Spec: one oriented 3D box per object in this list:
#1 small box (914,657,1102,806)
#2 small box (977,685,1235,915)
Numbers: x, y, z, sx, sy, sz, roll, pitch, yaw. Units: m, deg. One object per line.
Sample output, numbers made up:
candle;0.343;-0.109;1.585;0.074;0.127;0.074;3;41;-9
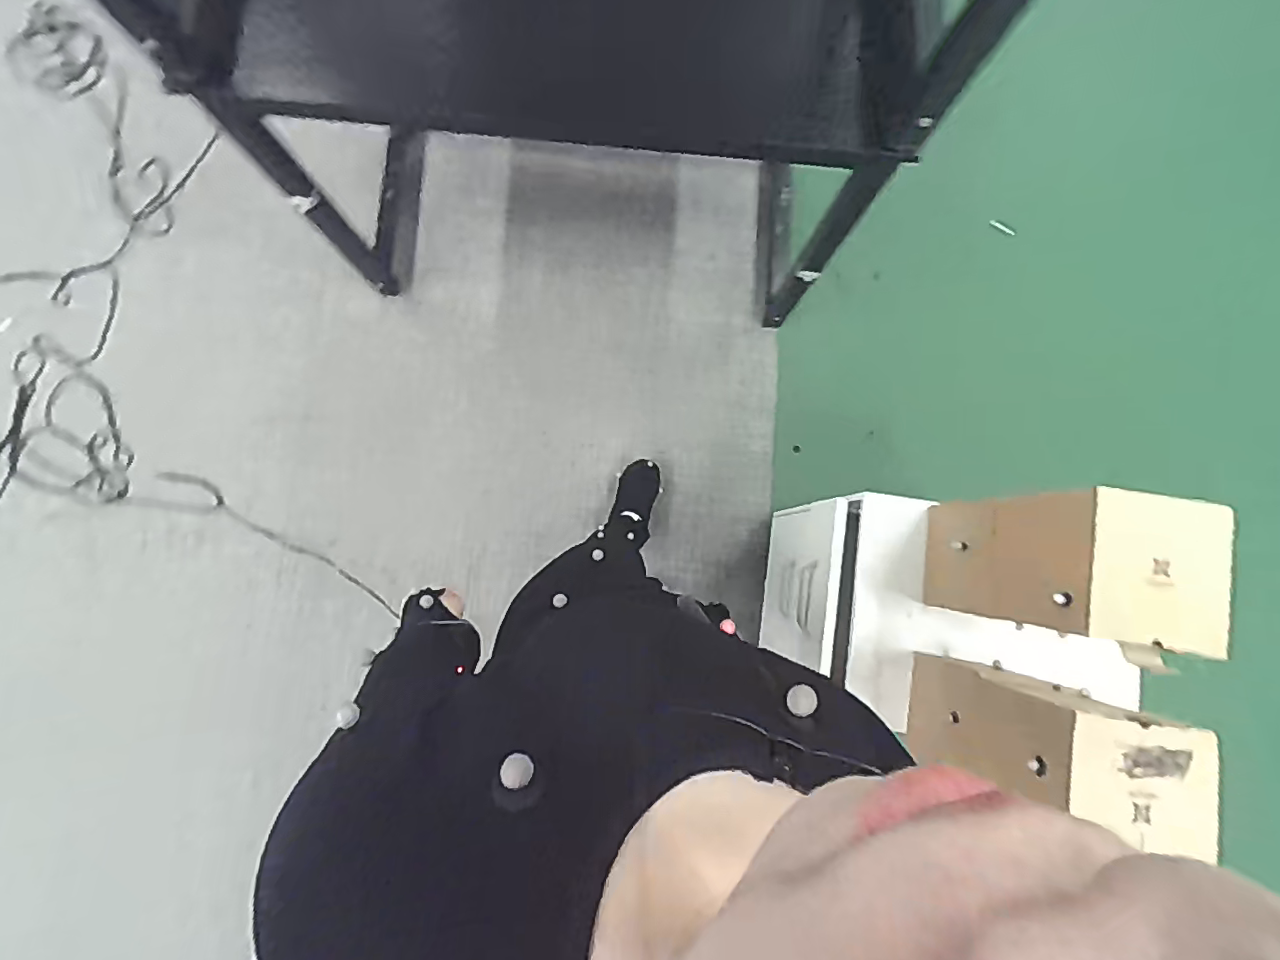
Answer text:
small box;0.536;0.376;0.808;0.168;0.176;0.179;11;82;0
small box;0.536;0.360;0.644;0.168;0.176;0.179;10;82;0
